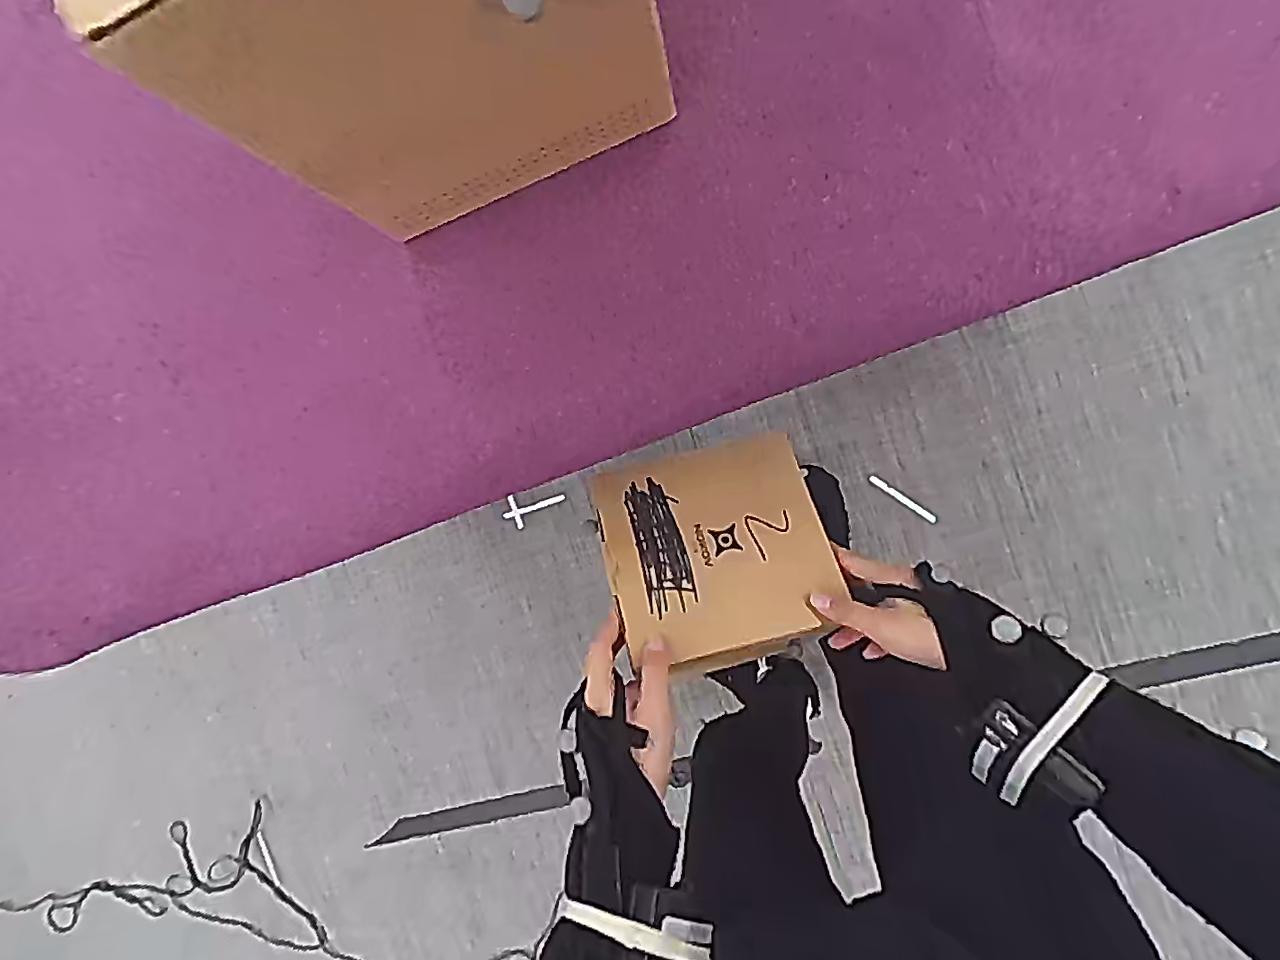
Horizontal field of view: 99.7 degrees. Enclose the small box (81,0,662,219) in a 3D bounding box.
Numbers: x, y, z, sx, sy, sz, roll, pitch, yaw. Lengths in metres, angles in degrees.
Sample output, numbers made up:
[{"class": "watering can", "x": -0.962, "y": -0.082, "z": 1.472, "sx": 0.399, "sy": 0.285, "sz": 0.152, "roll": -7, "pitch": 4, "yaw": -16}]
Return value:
[{"class": "small box", "x": -0.096, "y": -0.245, "z": 0.224, "sx": 0.179, "sy": 0.176, "sz": 0.168, "roll": -18, "pitch": 91, "yaw": 10}]
